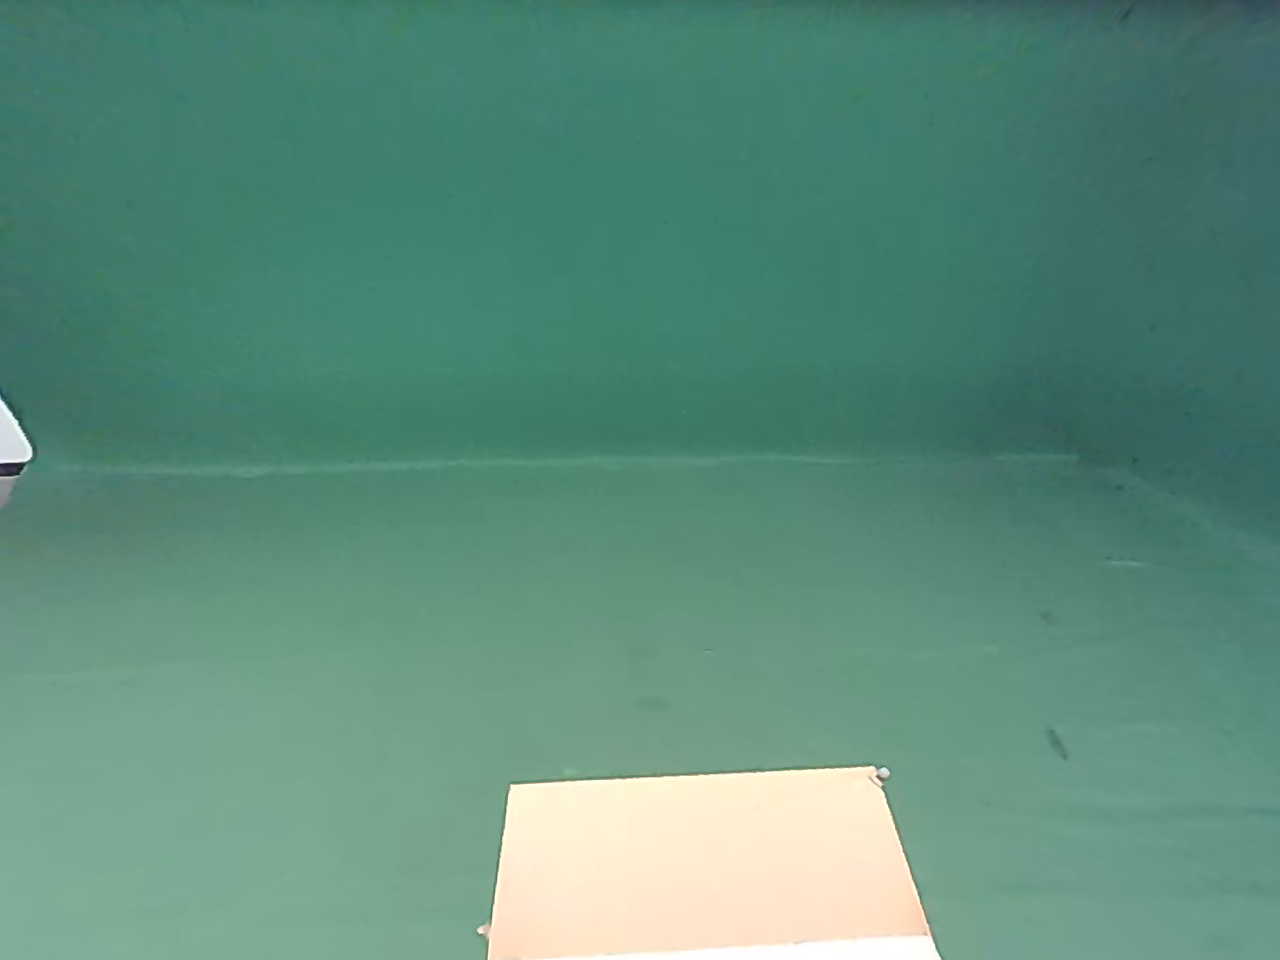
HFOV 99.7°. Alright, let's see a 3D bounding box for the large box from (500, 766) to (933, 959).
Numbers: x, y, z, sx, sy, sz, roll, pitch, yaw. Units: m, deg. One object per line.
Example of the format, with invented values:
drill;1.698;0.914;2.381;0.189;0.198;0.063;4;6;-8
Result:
large box;0.069;0.546;0.592;0.408;0.320;0.320;-2;44;-2
